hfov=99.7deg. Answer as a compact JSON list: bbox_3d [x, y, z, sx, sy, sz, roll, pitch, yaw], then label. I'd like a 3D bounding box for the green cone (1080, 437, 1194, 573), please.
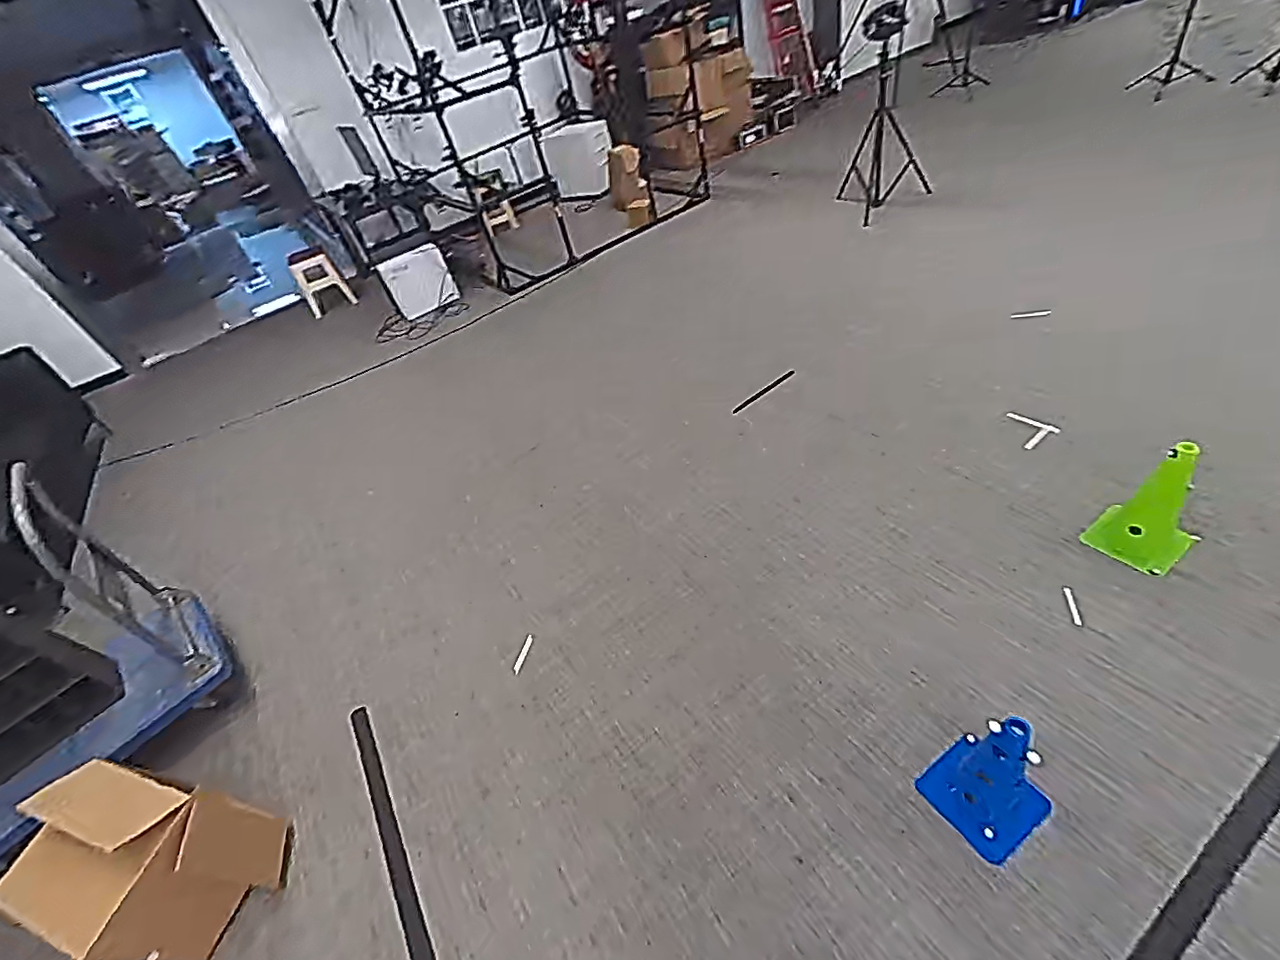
[{"bbox_3d":[1.372,0.037,1.431,0.200,0.368,0.202,-33,42,-17],"label":"green cone"}]

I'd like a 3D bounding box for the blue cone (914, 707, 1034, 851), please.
[{"bbox_3d":[0.703,0.572,1.097,0.193,0.380,0.192,-30,41,-14],"label":"blue cone"}]
